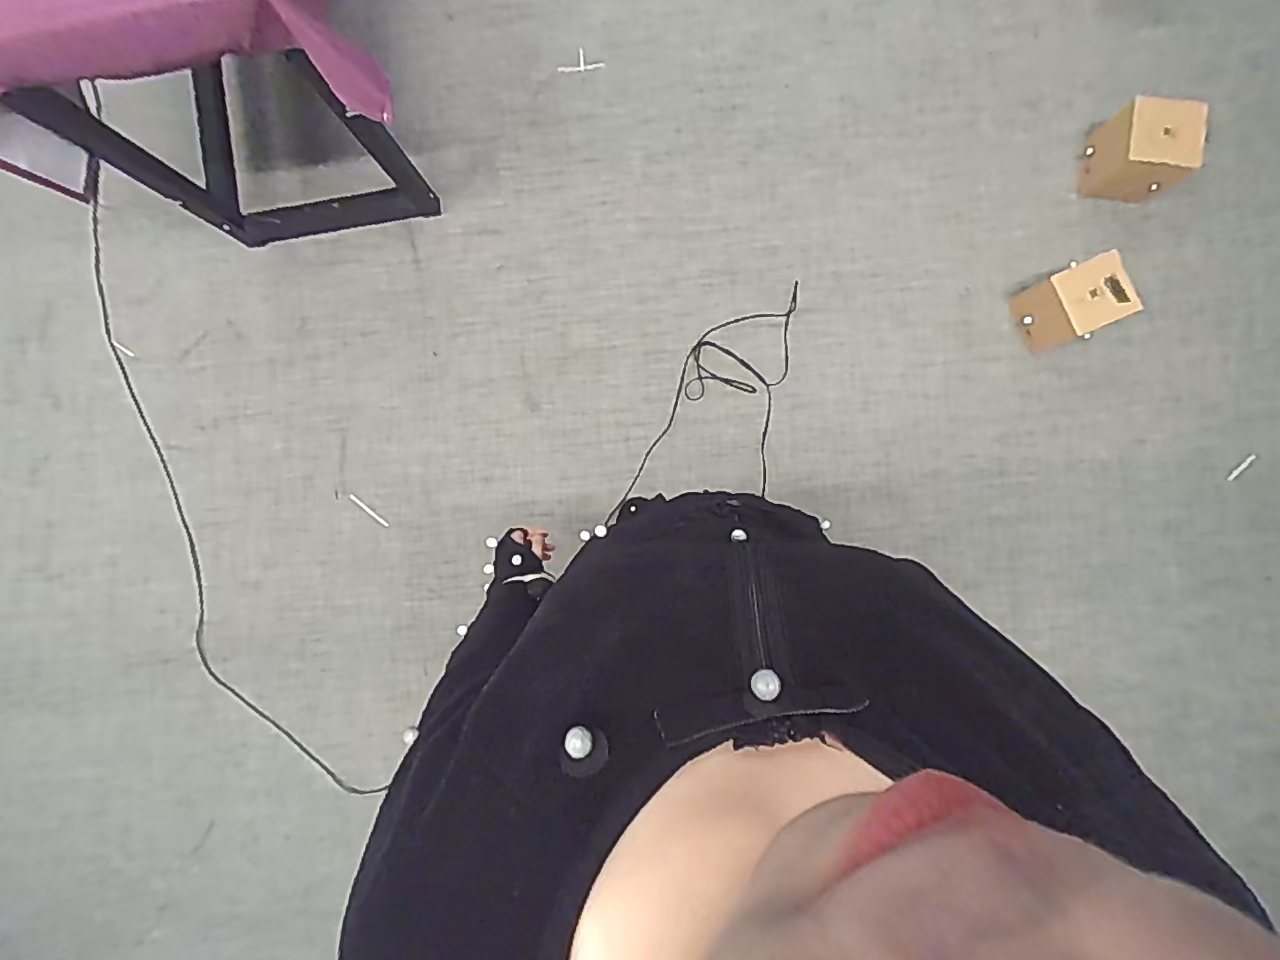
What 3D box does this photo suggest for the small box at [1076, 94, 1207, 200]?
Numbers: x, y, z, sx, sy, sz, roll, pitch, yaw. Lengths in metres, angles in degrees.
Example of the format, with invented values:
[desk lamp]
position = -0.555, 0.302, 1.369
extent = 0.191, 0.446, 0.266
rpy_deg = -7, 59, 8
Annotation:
[small box]
position = 1.298, -0.857, 1.409
extent = 0.179, 0.176, 0.168
rpy_deg = 8, 88, 2
